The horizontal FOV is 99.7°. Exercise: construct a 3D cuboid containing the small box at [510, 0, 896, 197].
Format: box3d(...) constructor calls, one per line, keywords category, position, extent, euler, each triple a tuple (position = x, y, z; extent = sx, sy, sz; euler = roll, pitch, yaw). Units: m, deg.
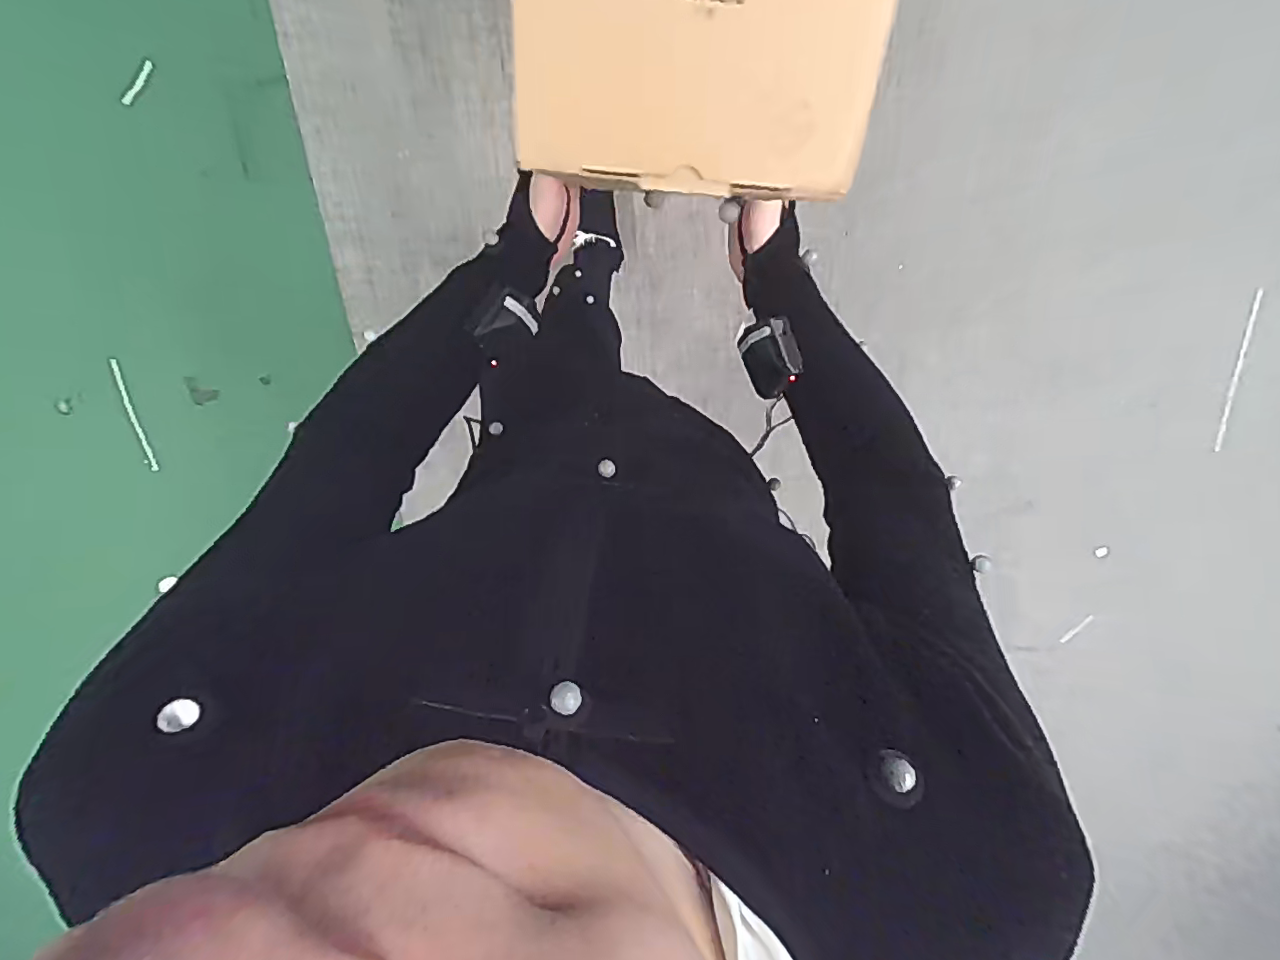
box3d(category="small box", position=(0.029, -0.260, 0.289), extent=(0.168, 0.176, 0.179), euler=(5, 118, -3))
